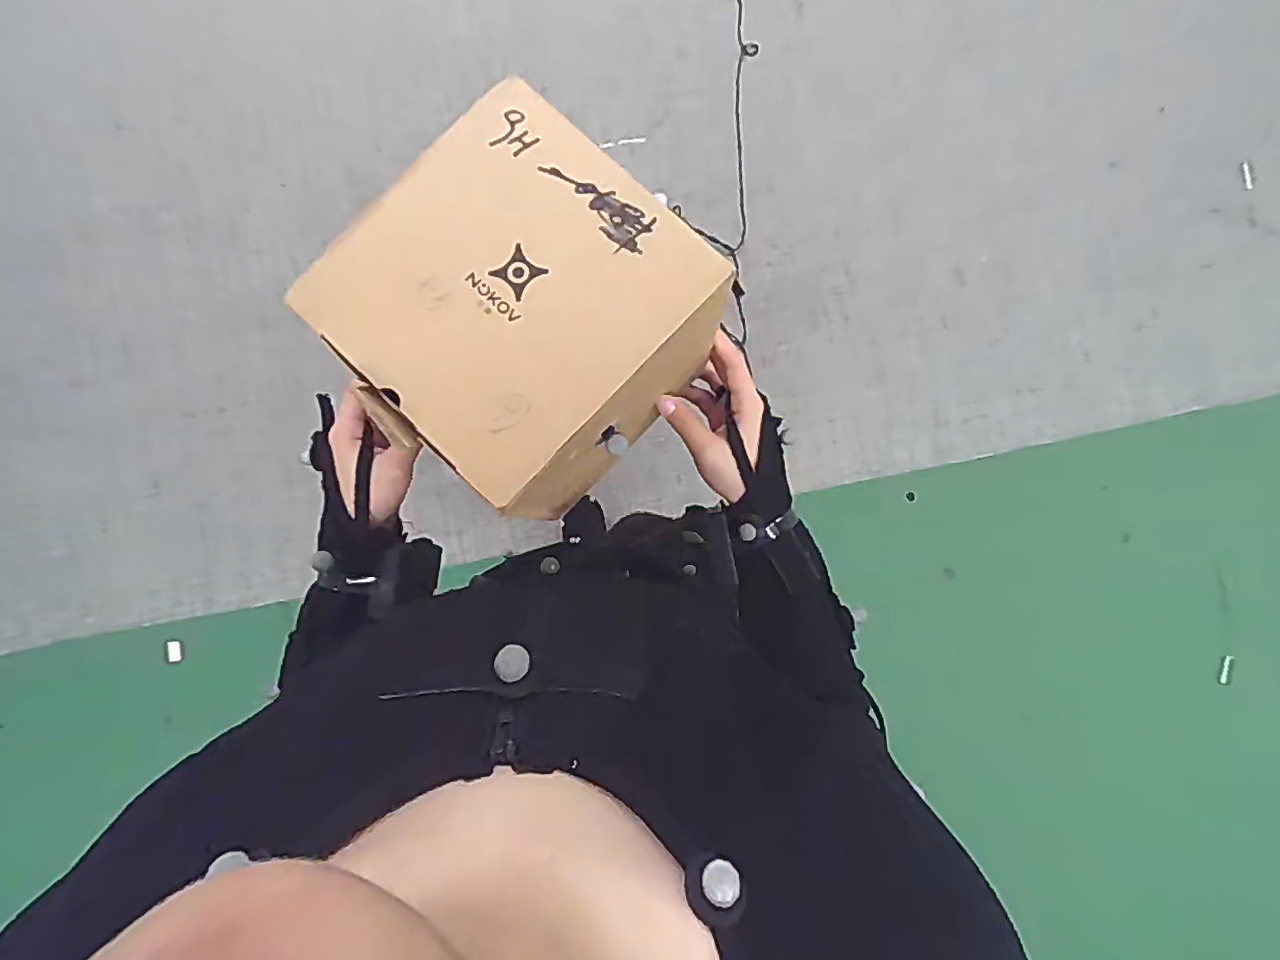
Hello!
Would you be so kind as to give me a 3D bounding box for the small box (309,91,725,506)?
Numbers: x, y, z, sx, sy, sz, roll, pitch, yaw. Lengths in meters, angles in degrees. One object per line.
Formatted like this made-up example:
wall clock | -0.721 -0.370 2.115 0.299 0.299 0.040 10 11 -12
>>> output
small box | -0.064 -0.096 0.373 0.168 0.176 0.179 43 87 5
